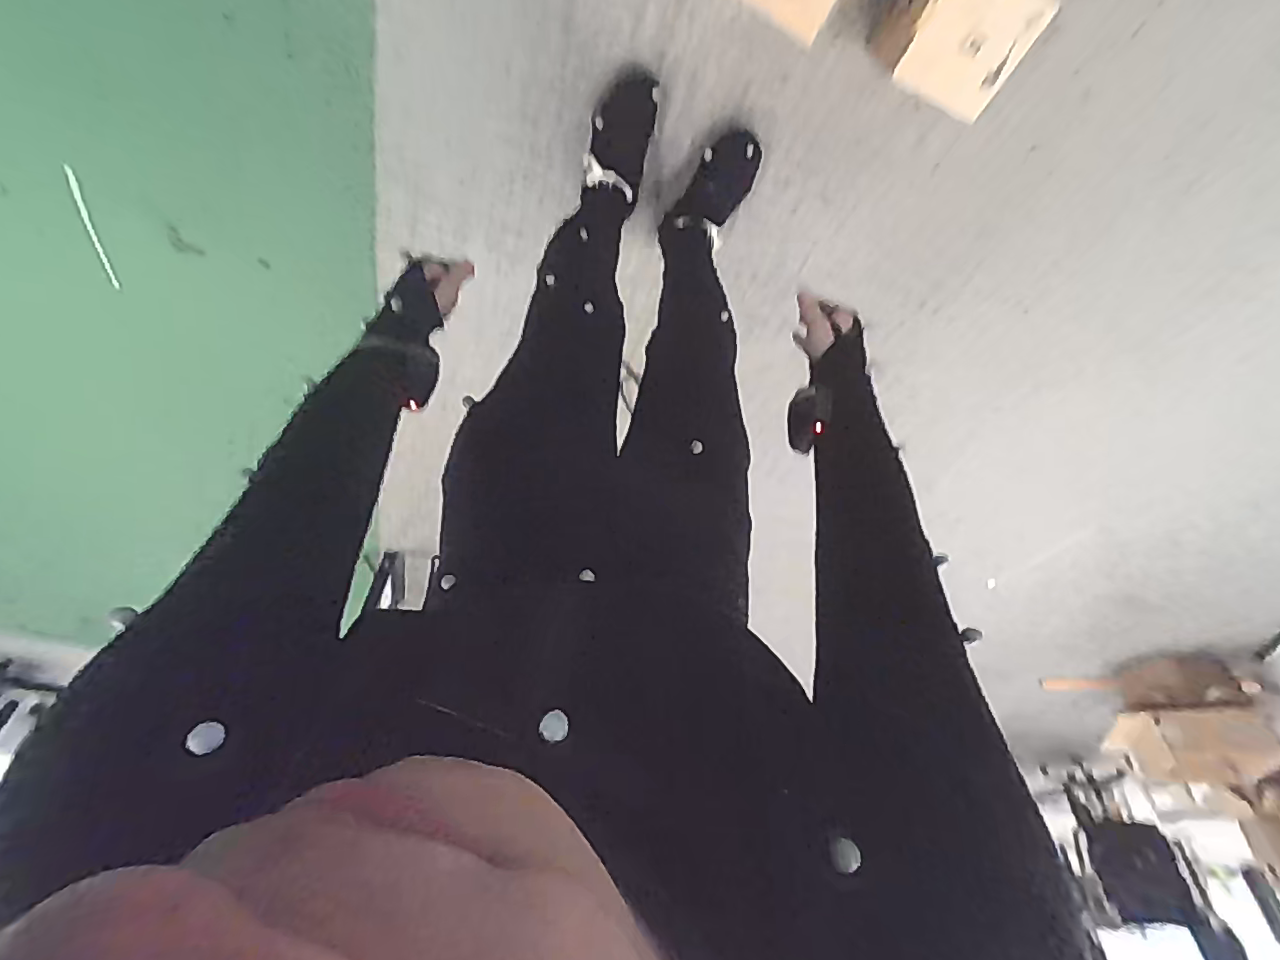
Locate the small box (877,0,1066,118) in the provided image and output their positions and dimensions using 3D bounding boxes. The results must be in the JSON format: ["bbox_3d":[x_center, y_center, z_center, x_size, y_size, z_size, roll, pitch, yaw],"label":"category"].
[{"bbox_3d":[0.517,-0.733,0.875,0.179,0.176,0.168,17,138,-13],"label":"small box"}]

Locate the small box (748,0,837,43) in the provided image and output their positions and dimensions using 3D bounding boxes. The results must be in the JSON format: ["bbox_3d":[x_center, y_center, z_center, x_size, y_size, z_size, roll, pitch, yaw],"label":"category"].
[{"bbox_3d":[0.197,-0.709,0.679,0.168,0.176,0.179,19,137,-18],"label":"small box"}]
